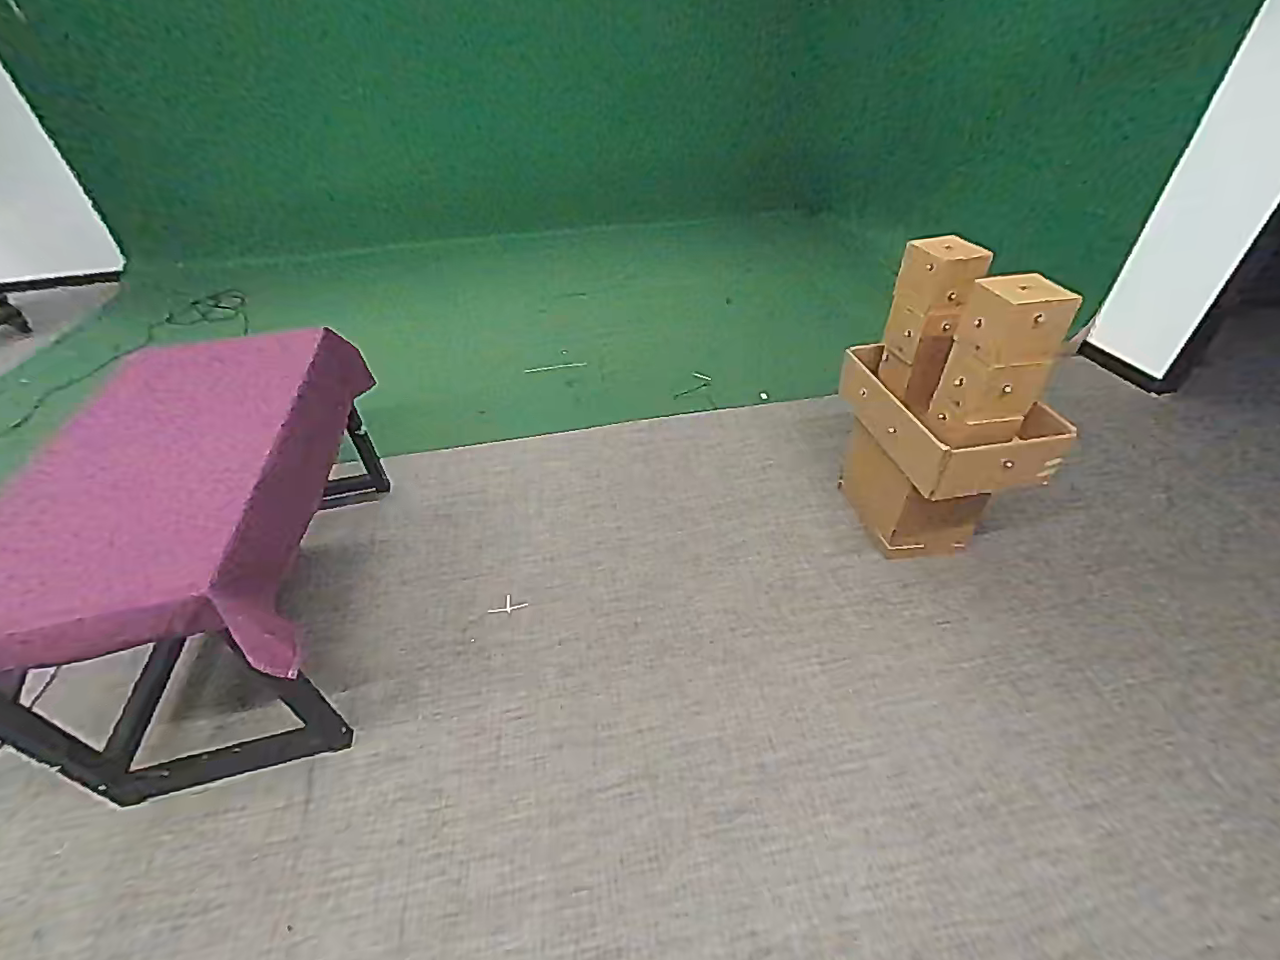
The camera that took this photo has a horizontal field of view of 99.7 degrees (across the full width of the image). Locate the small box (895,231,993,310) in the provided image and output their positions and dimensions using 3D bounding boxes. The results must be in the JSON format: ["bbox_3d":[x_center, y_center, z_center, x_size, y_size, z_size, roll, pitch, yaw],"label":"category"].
[{"bbox_3d":[0.909,-0.635,1.639,0.168,0.176,0.179,-12,43,-9],"label":"small box"}]

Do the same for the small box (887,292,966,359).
[{"bbox_3d":[0.919,-0.504,1.736,0.179,0.176,0.168,-10,42,-9],"label":"small box"}]

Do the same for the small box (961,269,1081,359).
[{"bbox_3d":[0.960,-0.424,1.388,0.179,0.176,0.168,-6,41,-4],"label":"small box"}]

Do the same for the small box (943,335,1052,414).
[{"bbox_3d":[0.971,-0.295,1.492,0.179,0.176,0.168,-7,42,-3],"label":"small box"}]
